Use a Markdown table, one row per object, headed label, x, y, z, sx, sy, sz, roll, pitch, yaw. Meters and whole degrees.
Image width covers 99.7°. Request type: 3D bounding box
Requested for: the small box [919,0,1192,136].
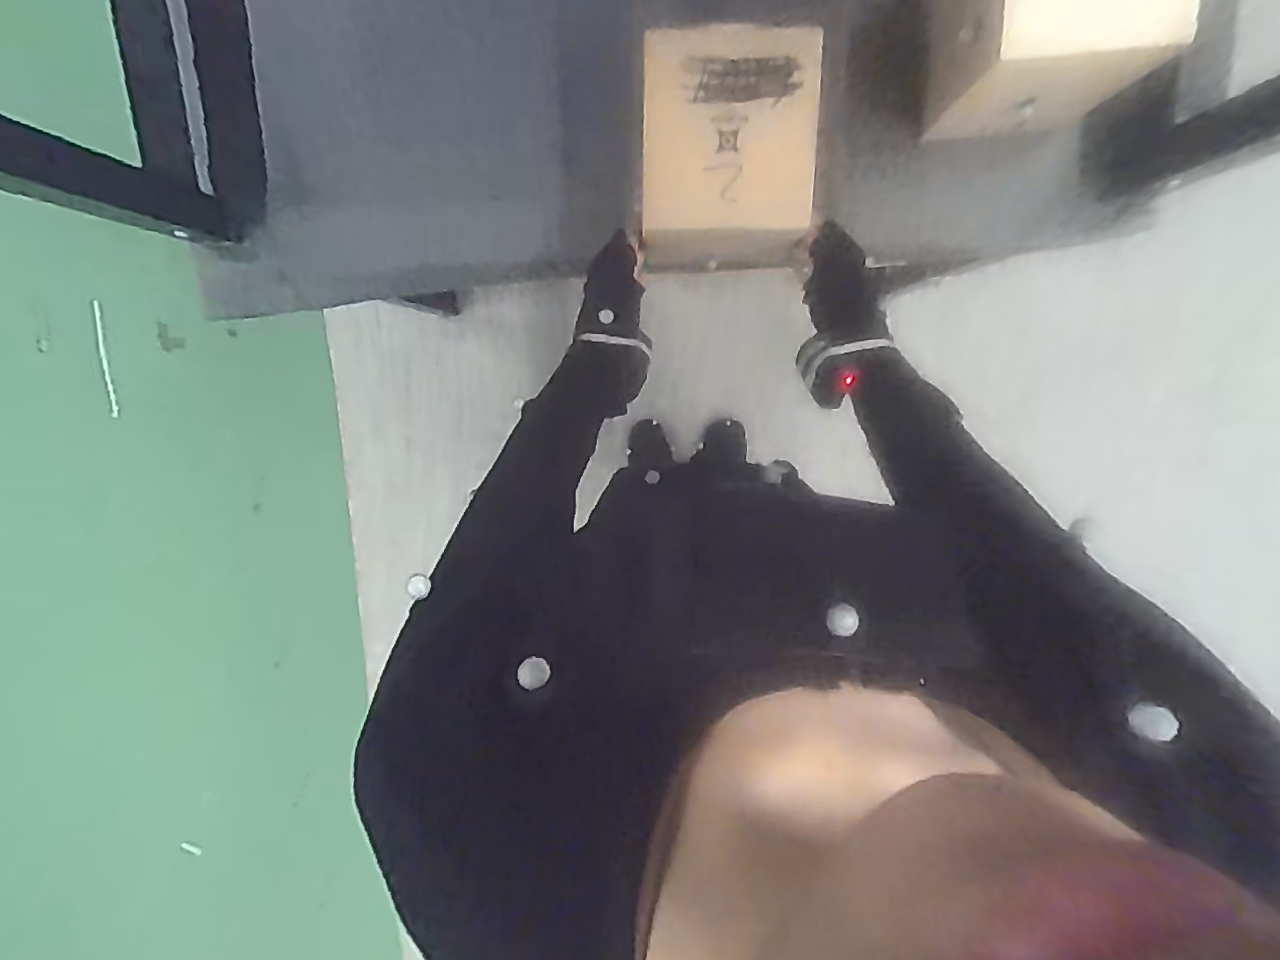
| label | x | y | z | sx | sy | sz | roll | pitch | yaw |
| --- | --- | --- | --- | --- | --- | --- | --- | --- | --- |
| small box | 0.405 | -0.477 | 0.551 | 0.168 | 0.176 | 0.179 | -2 | 100 | 4 |
